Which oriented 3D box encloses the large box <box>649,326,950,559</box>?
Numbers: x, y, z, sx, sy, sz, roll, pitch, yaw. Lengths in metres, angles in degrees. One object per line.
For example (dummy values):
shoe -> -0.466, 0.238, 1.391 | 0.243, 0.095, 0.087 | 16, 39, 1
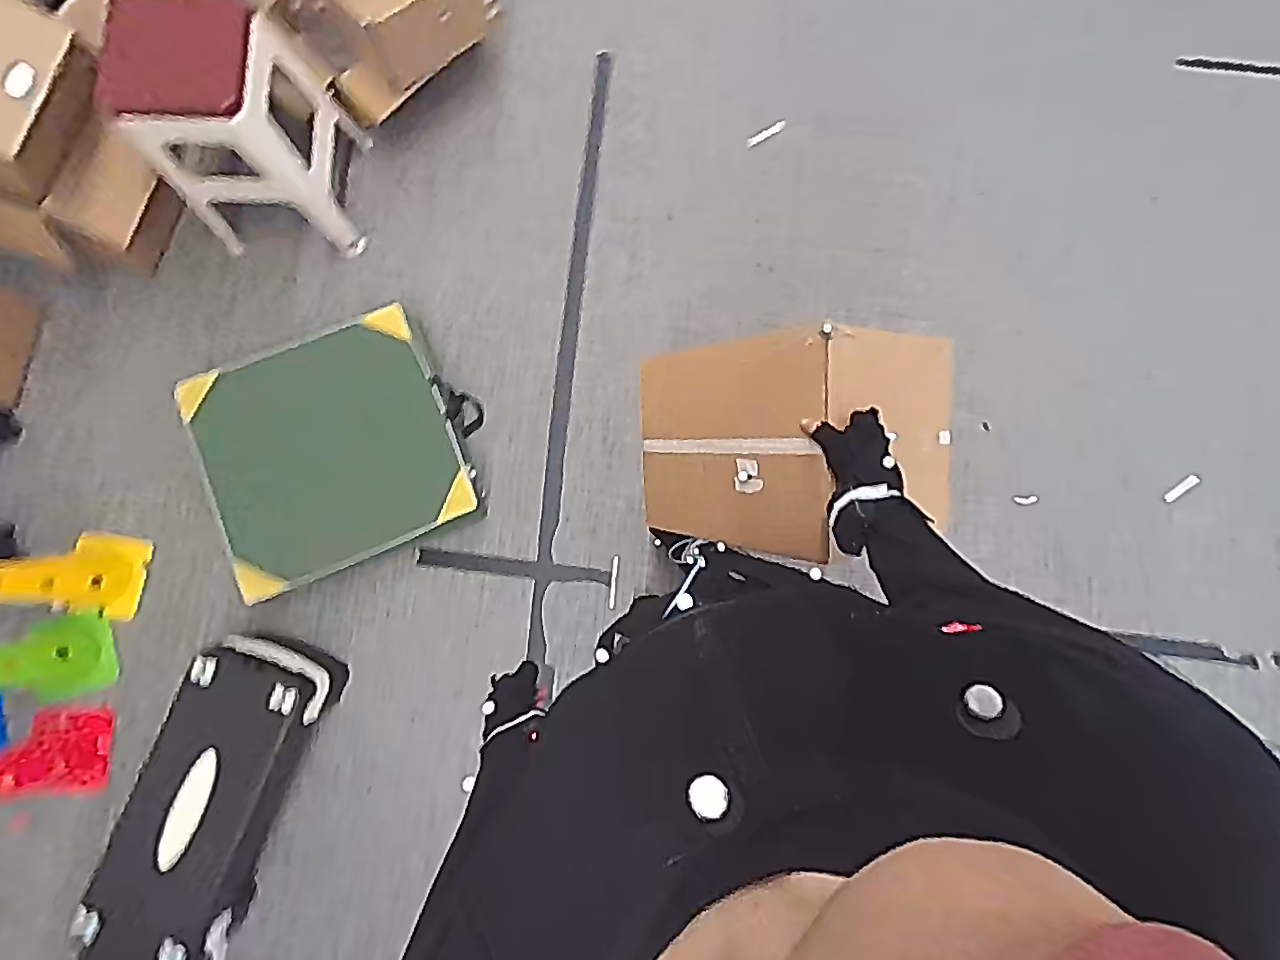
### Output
large box -> 0.256, -0.068, 0.946 | 0.320, 0.408, 0.320 | -5, 98, -36
